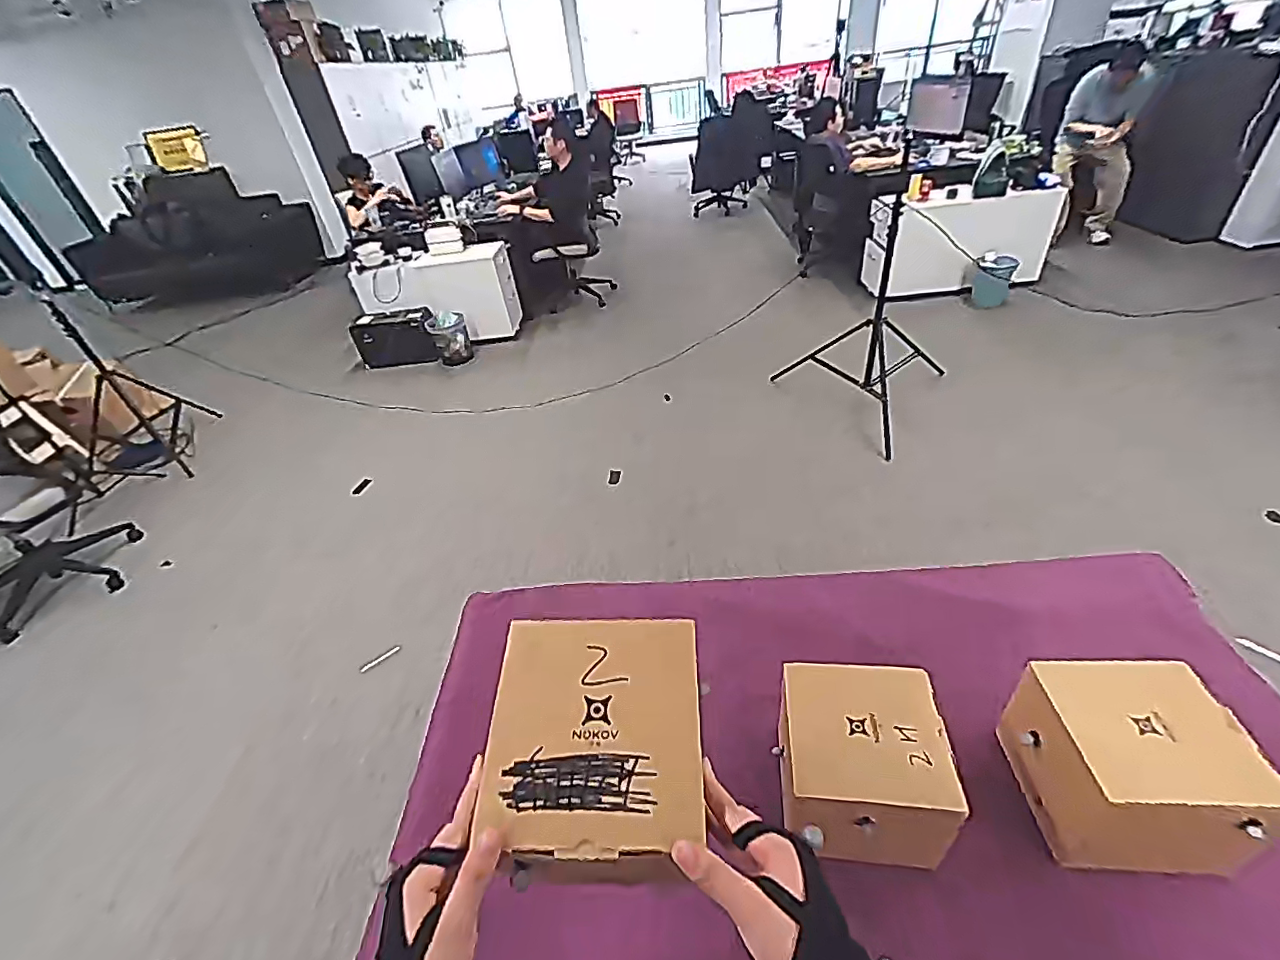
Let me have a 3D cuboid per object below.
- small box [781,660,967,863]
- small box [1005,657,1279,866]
[{"bbox_3d":[0.269,0.347,0.671,0.179,0.176,0.168,0,38,10],"label":"small box"},{"bbox_3d":[0.566,0.330,0.638,0.179,0.176,0.168,-3,36,7],"label":"small box"}]
